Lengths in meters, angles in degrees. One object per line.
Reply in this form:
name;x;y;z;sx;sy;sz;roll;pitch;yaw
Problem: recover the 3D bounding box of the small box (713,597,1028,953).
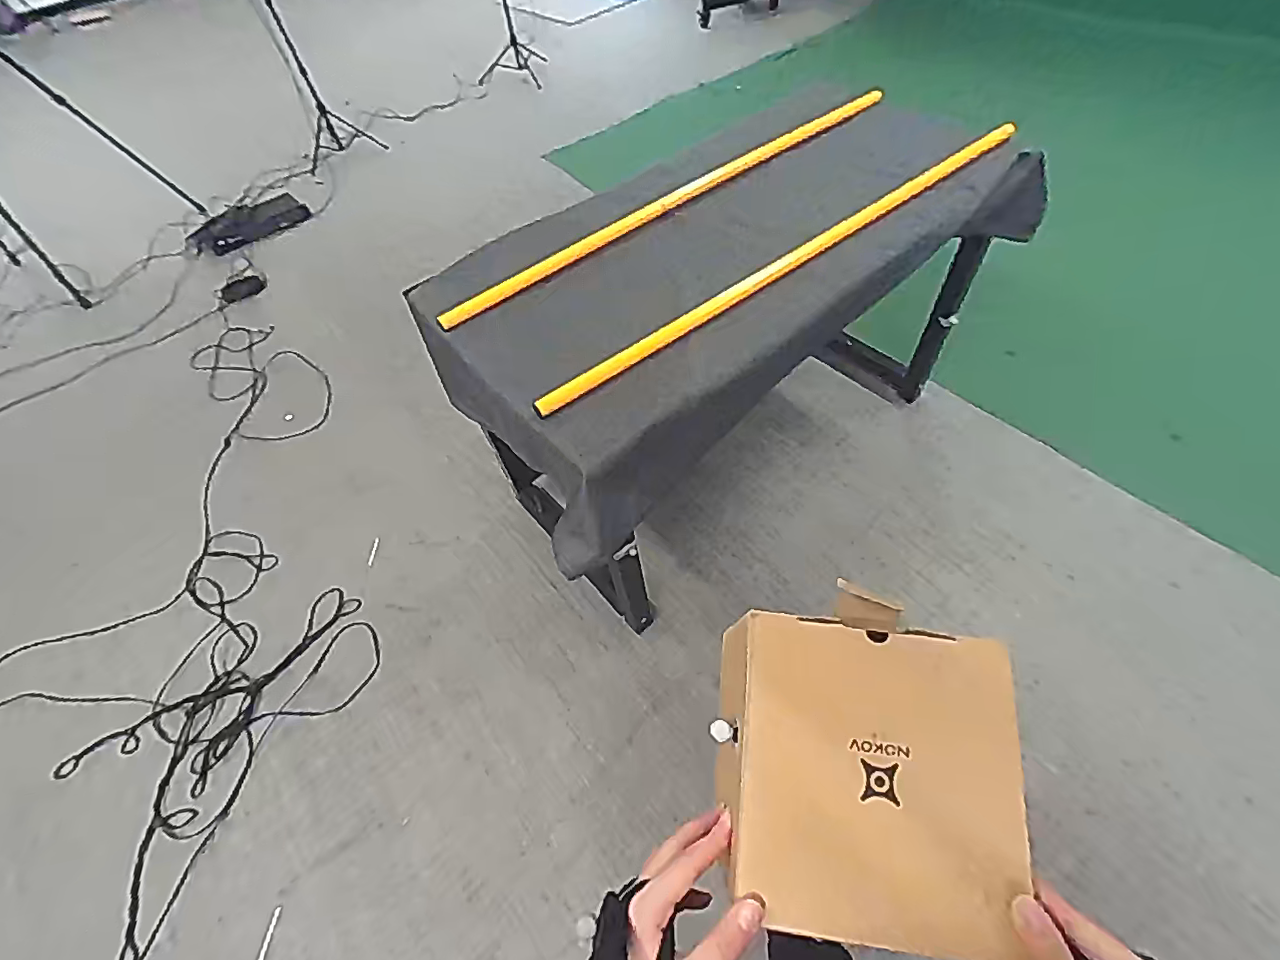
small box;0.146;0.196;0.404;0.168;0.176;0.179;6;69;5
